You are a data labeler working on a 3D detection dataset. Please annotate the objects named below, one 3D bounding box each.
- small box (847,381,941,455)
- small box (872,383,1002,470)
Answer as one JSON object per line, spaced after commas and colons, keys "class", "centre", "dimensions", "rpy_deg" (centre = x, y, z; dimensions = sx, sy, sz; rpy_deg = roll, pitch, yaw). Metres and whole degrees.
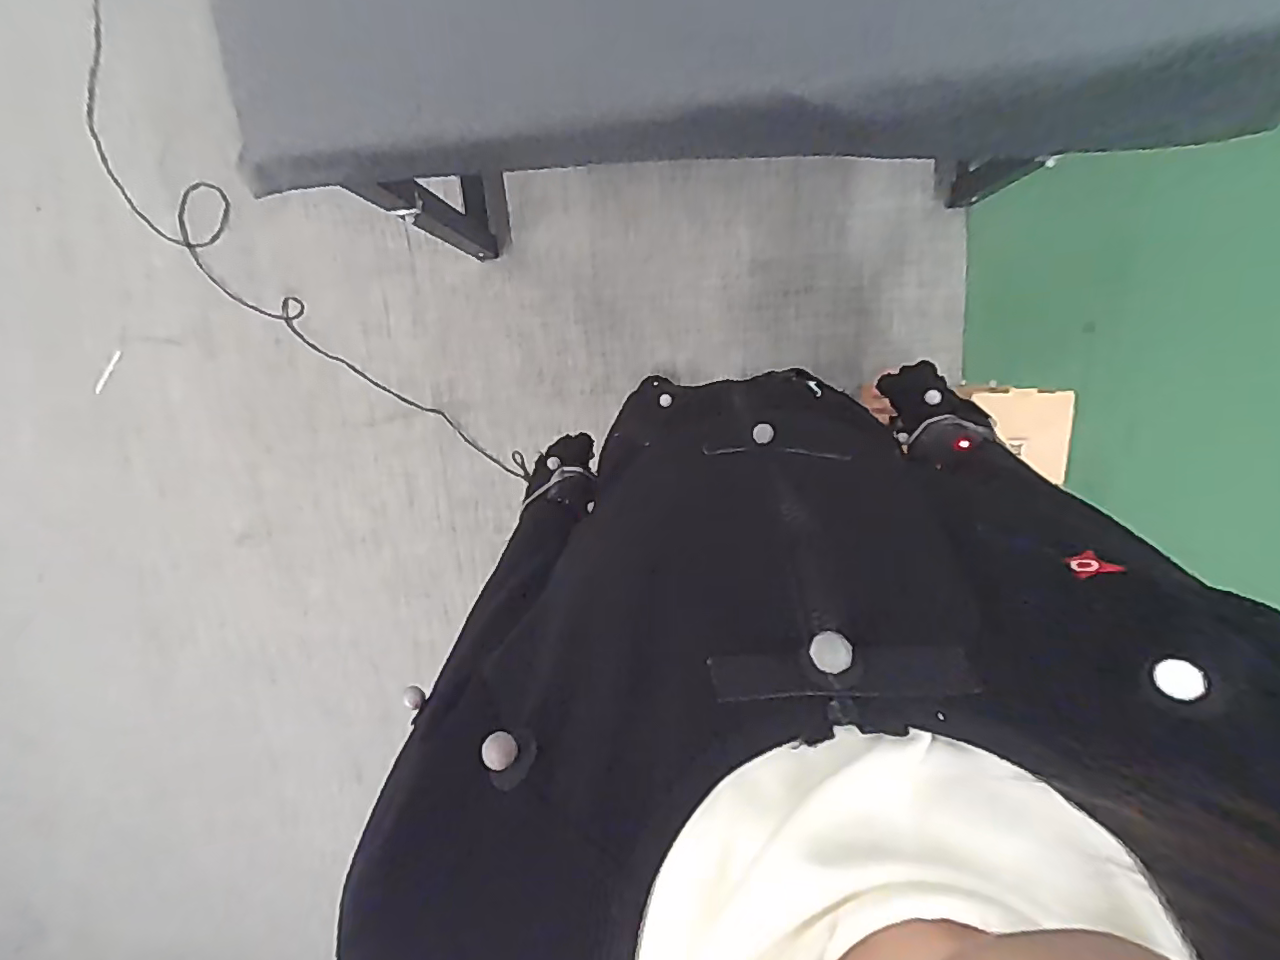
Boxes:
{"class": "small box", "centre": [0.616, -0.152, 1.296], "dimensions": [0.179, 0.176, 0.168], "rpy_deg": [0, 101, 4]}
{"class": "small box", "centre": [0.612, -0.117, 1.135], "dimensions": [0.179, 0.176, 0.168], "rpy_deg": [1, 101, 3]}
